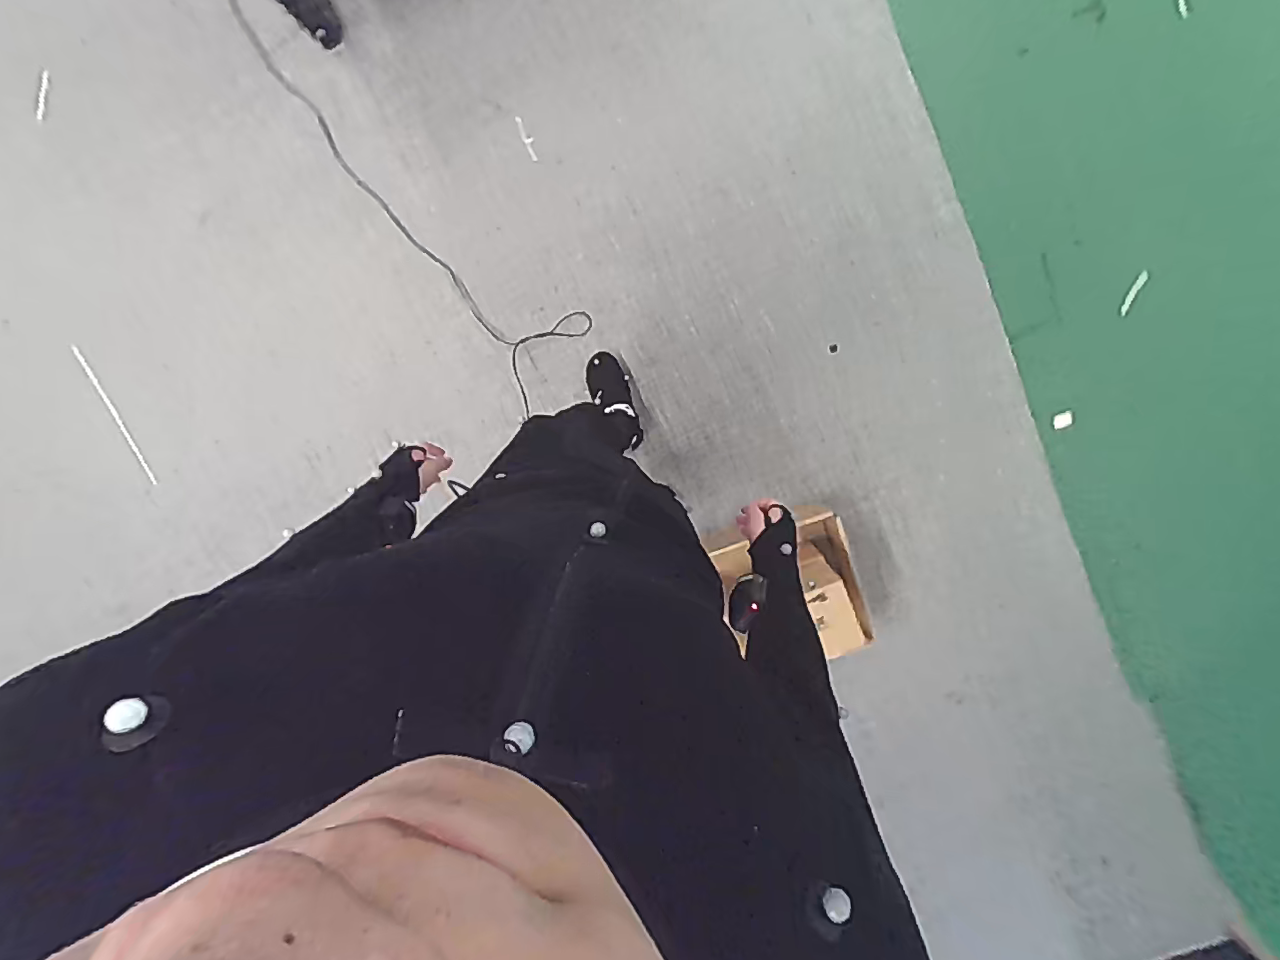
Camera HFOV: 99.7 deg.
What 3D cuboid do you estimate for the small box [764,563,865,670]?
[{"bbox_3d":[0.426,0.332,1.341,0.168,0.176,0.179,-22,99,5],"label":"small box"}]
